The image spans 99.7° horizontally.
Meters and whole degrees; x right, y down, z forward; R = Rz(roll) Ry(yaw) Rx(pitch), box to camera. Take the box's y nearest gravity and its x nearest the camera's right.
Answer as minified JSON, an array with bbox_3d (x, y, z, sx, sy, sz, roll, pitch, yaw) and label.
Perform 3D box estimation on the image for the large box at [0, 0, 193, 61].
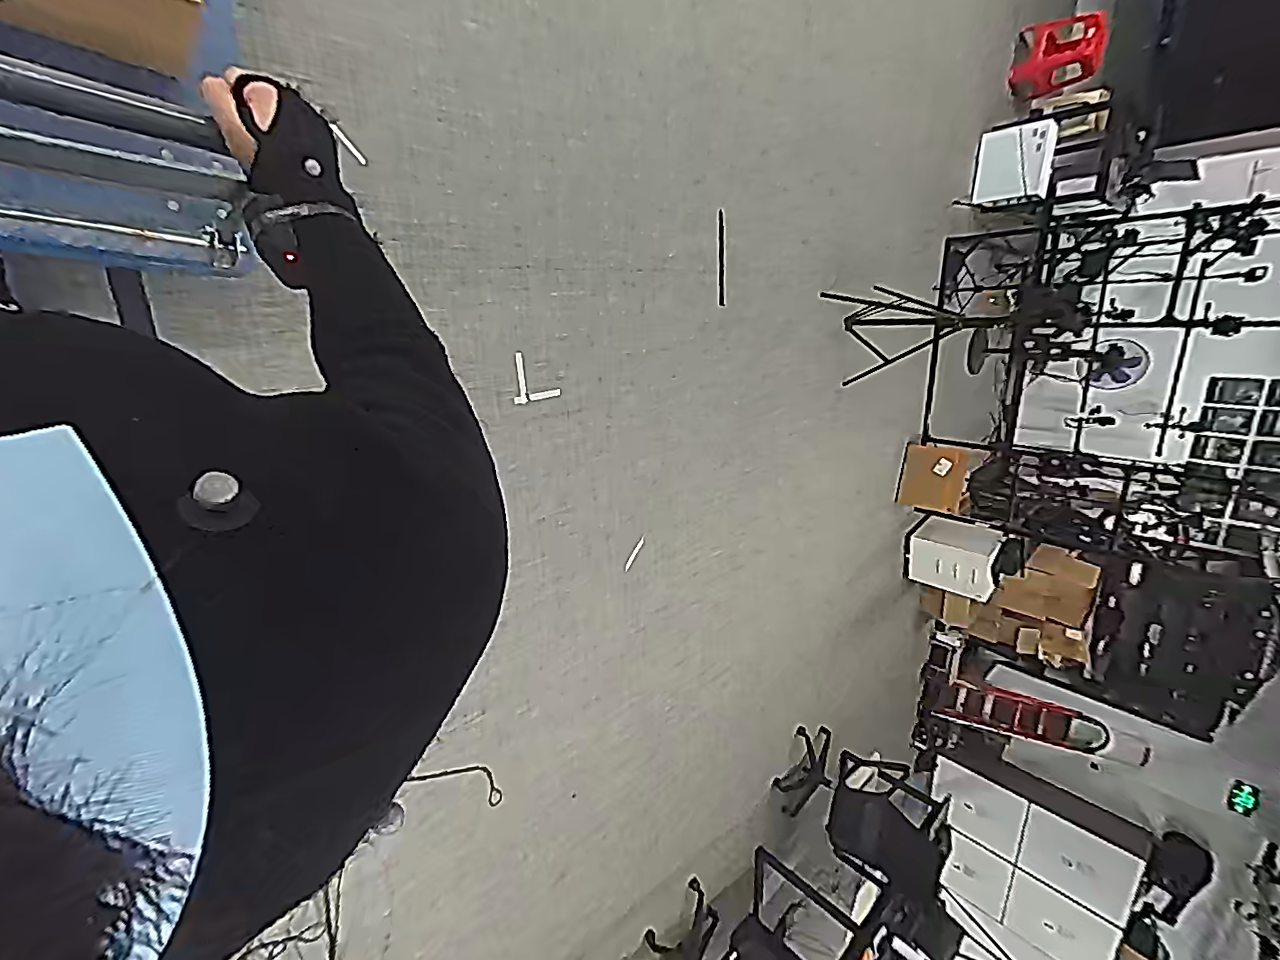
[{"bbox_3d":[-0.831,-0.809,0.661,0.408,0.320,0.320,-7,106,-43],"label":"large box"}]
